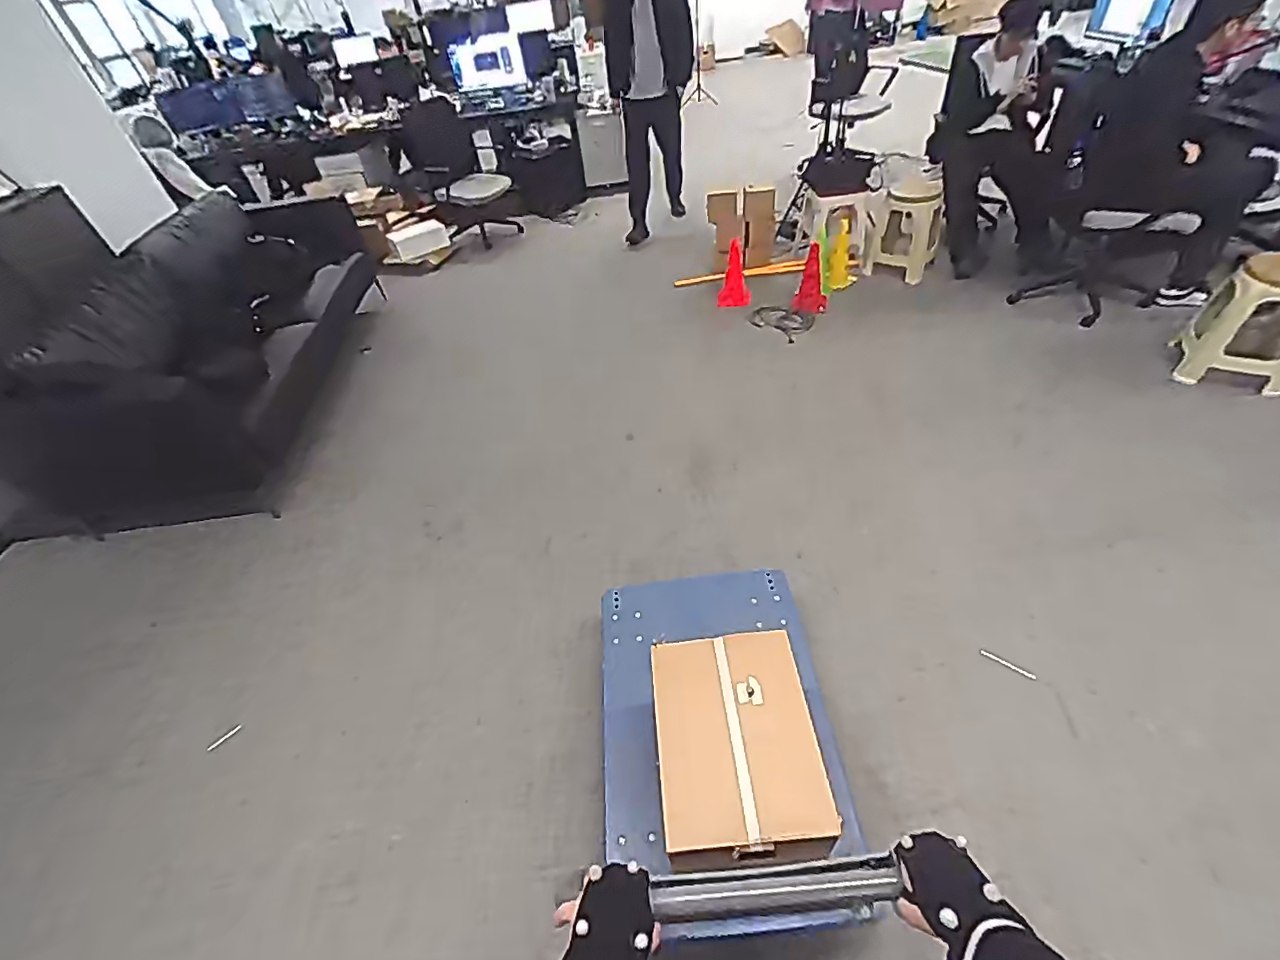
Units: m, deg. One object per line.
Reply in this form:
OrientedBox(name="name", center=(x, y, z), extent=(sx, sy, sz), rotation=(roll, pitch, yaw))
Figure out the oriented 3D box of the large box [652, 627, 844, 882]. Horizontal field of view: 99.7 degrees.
OrientedBox(name="large box", center=(0.212, 0.595, 1.187), extent=(0.320, 0.320, 0.408), rotation=(-7, 44, 2))
